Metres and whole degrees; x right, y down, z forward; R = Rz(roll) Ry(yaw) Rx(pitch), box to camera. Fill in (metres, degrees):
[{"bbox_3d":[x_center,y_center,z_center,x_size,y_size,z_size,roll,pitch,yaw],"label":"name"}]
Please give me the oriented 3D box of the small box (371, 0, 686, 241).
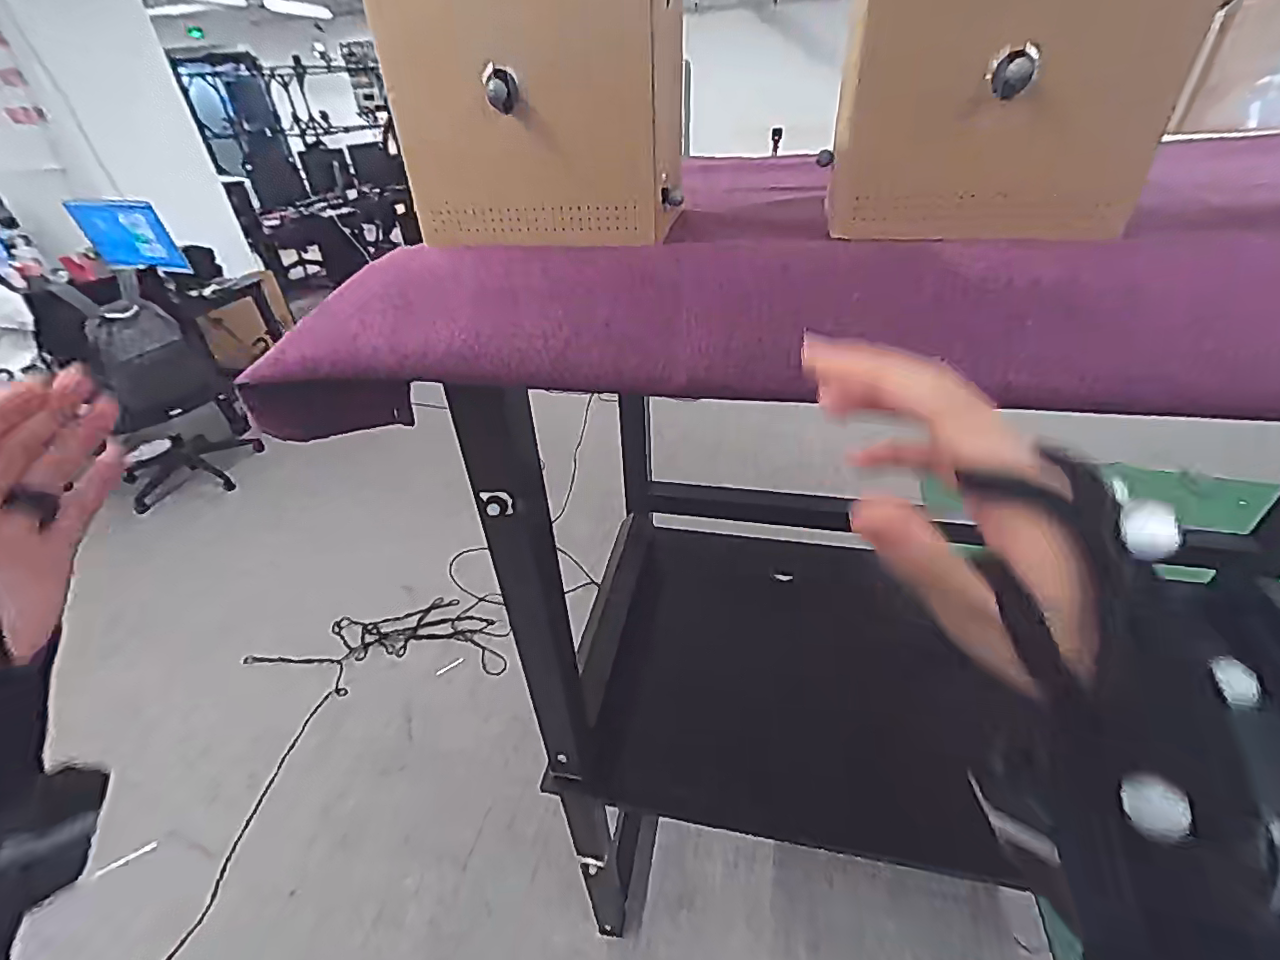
[{"bbox_3d":[-0.059,-0.282,0.398,0.179,0.176,0.168,3,36,8],"label":"small box"}]
